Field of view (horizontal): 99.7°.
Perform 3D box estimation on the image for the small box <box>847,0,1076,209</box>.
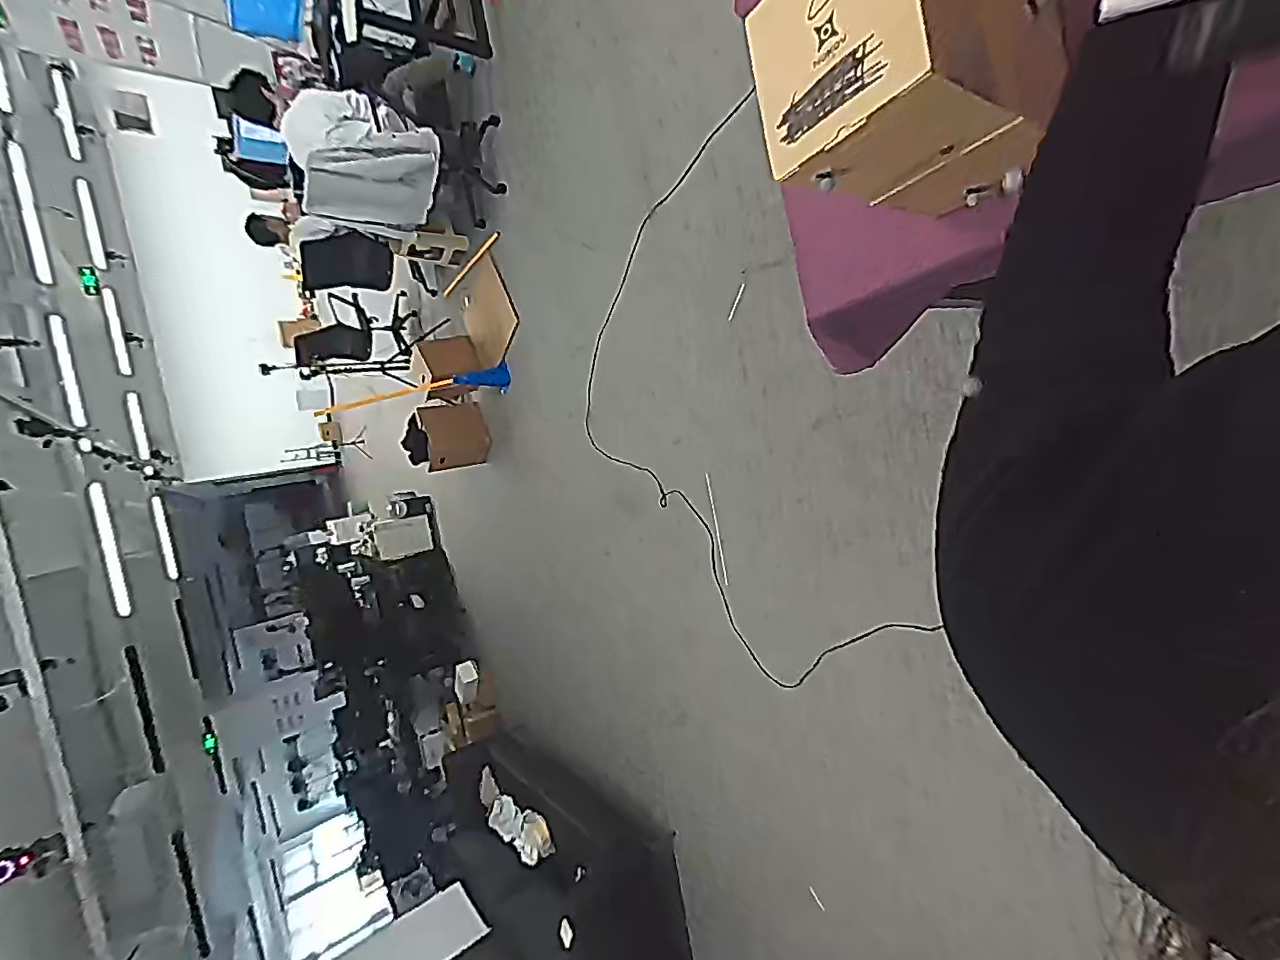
[{"bbox_3d":[0.375,-0.445,0.634,0.168,0.176,0.179,-8,95,55],"label":"small box"}]
